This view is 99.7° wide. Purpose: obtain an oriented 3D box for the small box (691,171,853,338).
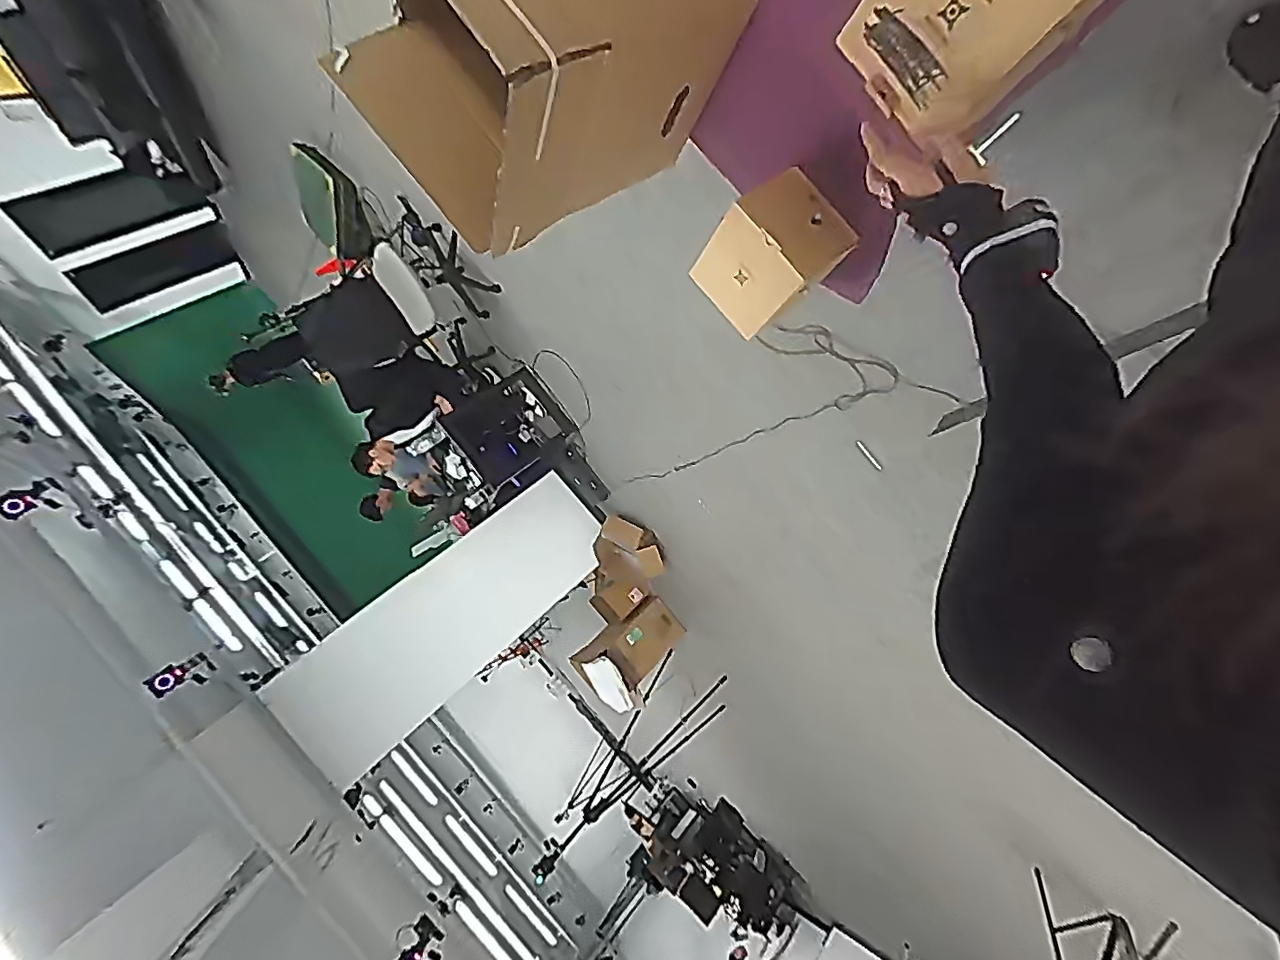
[{"bbox_3d":[0.225,-0.384,0.928,0.168,0.176,0.179,49,153,2],"label":"small box"}]
